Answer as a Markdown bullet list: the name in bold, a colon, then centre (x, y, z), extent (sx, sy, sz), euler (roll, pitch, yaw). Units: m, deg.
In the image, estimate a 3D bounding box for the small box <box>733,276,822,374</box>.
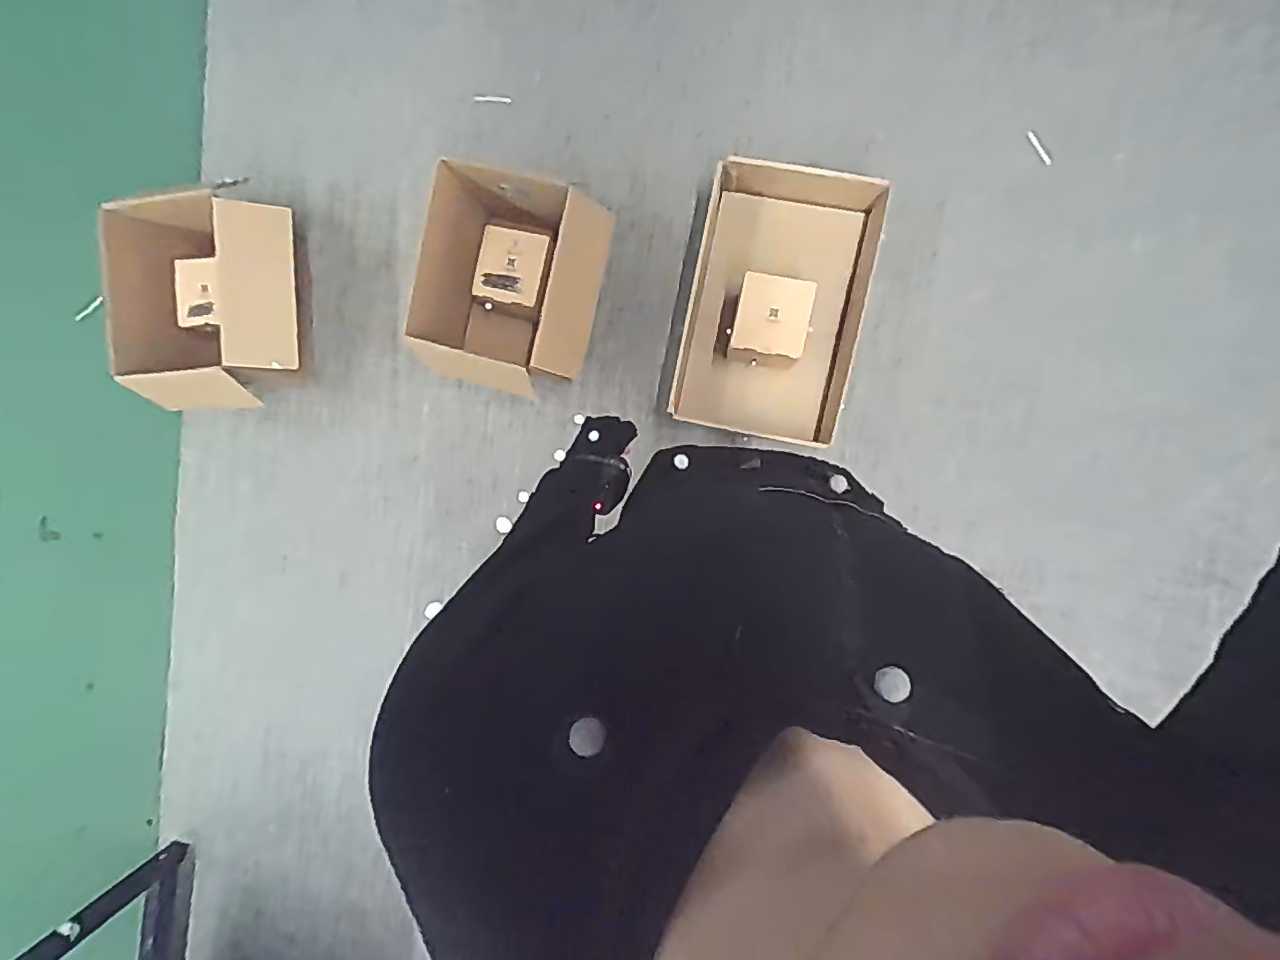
- **small box**: centre (0.322, -0.366, 1.302), extent (0.168, 0.176, 0.179), euler (12, 93, 6)
